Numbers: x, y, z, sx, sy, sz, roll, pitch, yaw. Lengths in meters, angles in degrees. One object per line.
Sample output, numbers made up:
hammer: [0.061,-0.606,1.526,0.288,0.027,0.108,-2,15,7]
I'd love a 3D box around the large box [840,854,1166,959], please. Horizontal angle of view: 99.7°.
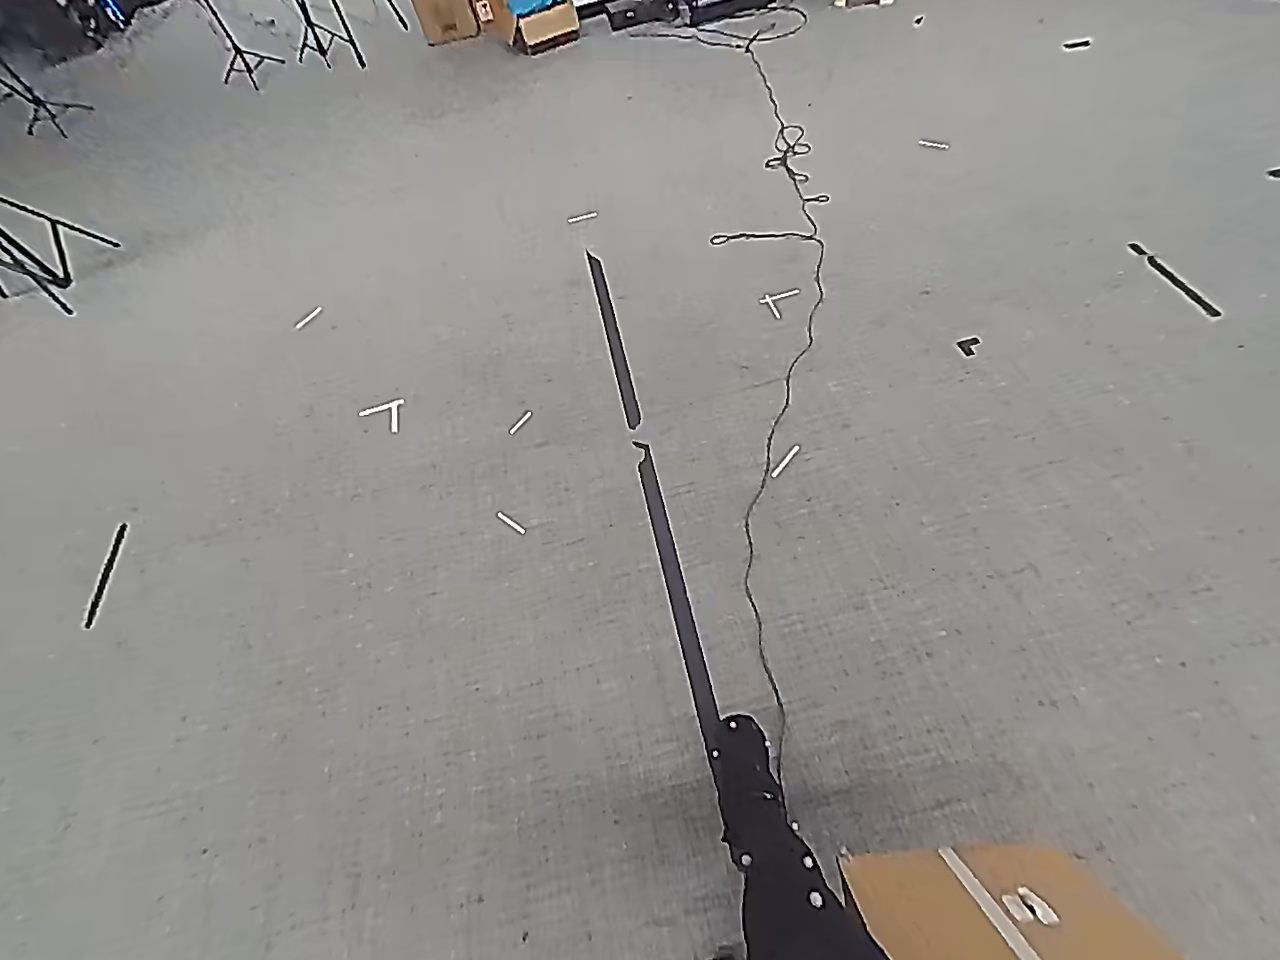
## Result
large box: [0.459,0.705,0.603,0.320,0.408,0.320,-7,83,4]
